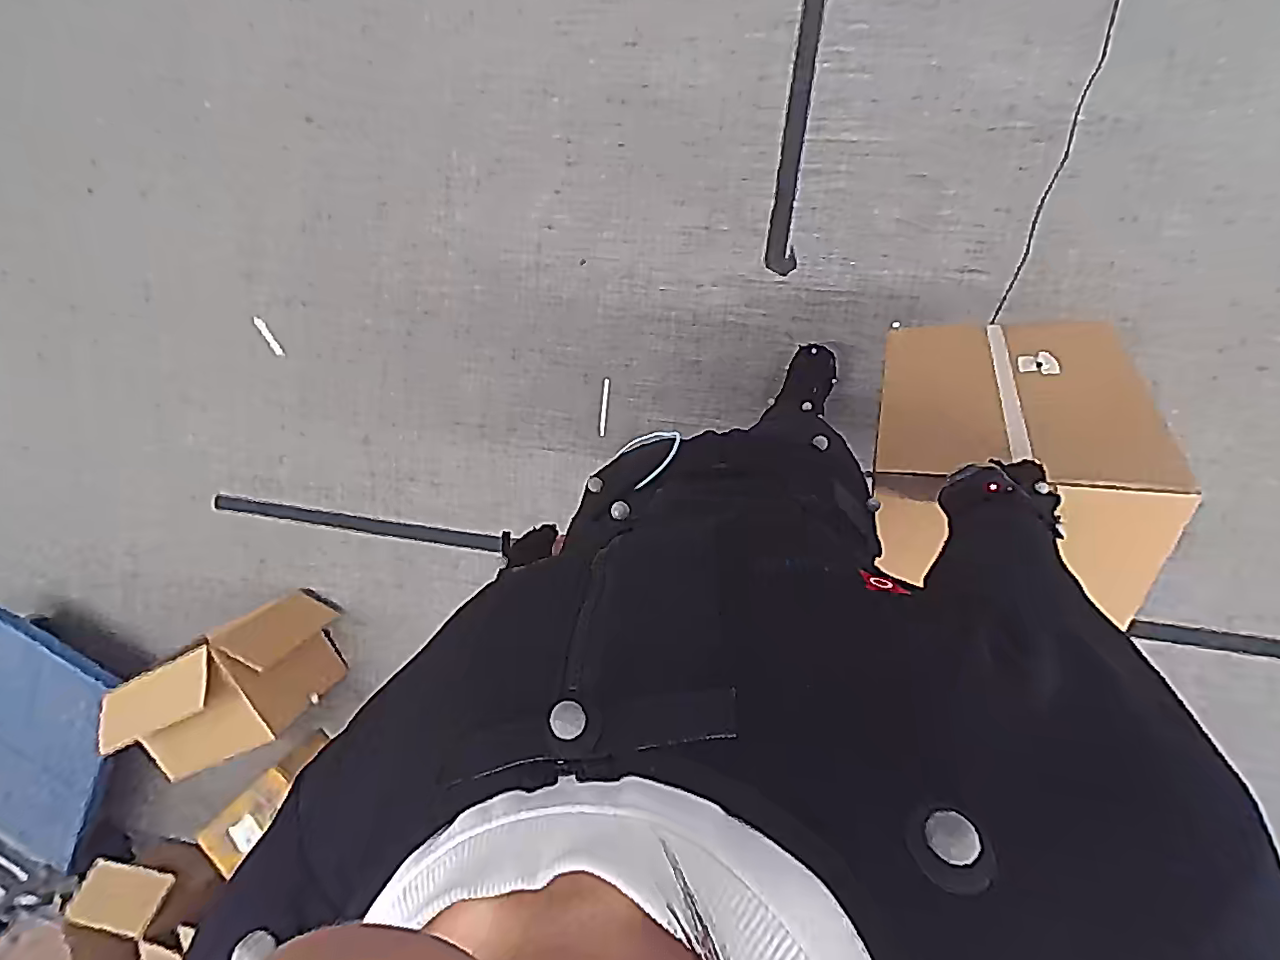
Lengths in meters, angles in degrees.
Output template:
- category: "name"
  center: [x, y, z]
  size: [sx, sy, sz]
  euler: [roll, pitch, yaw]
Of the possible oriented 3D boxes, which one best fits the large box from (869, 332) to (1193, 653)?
- category: "large box"
  center: [0.543, -0.002, 0.856]
  size: [0.320, 0.408, 0.320]
  euler: [6, 131, 22]
